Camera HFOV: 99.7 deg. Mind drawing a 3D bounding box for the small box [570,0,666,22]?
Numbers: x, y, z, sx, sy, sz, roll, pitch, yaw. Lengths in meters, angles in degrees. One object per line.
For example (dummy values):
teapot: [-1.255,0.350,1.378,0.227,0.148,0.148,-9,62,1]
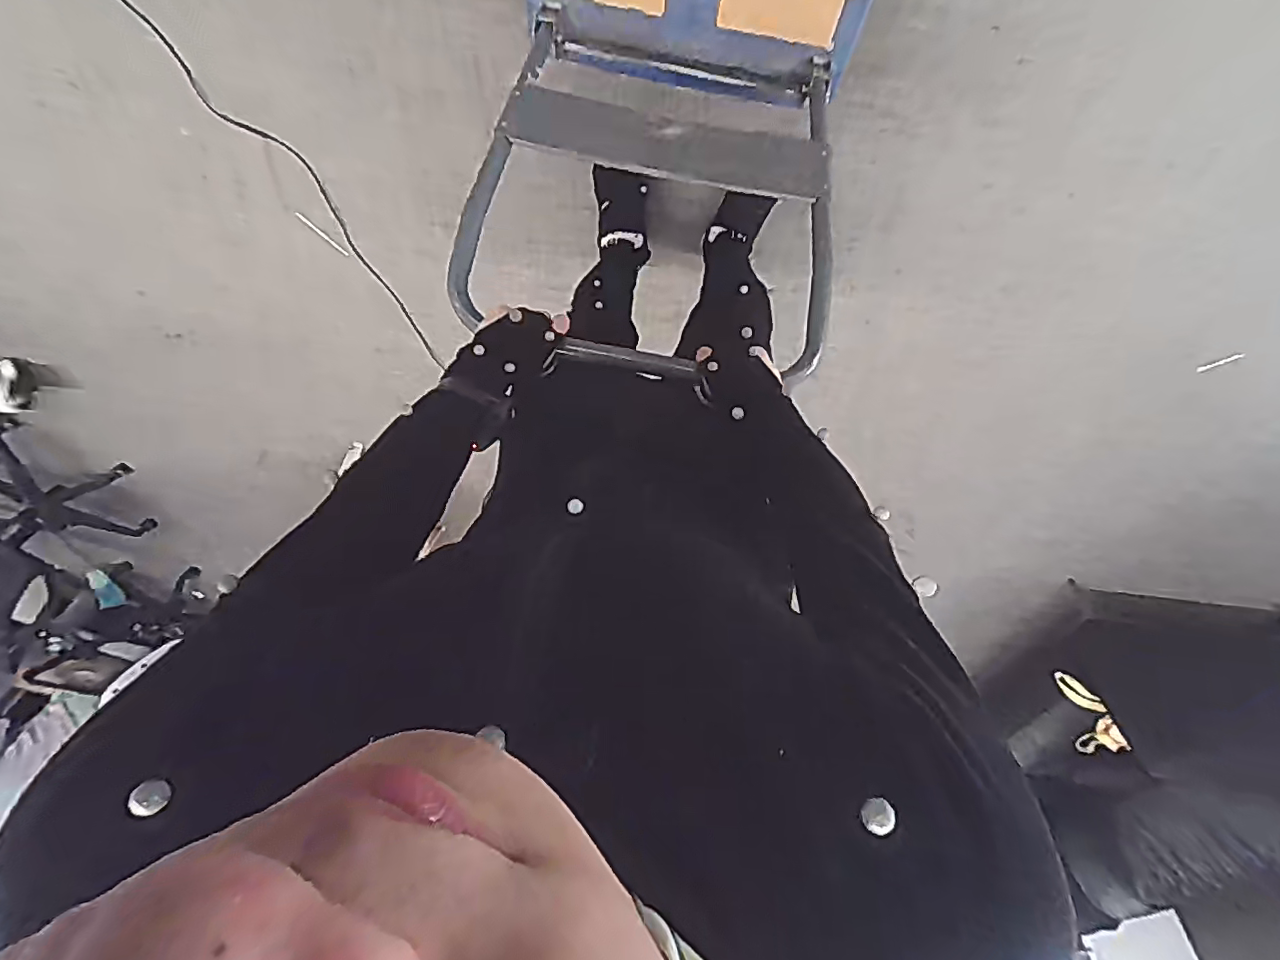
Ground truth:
small box: [-0.026,-0.805,0.761,0.168,0.176,0.179,10,152,-4]
